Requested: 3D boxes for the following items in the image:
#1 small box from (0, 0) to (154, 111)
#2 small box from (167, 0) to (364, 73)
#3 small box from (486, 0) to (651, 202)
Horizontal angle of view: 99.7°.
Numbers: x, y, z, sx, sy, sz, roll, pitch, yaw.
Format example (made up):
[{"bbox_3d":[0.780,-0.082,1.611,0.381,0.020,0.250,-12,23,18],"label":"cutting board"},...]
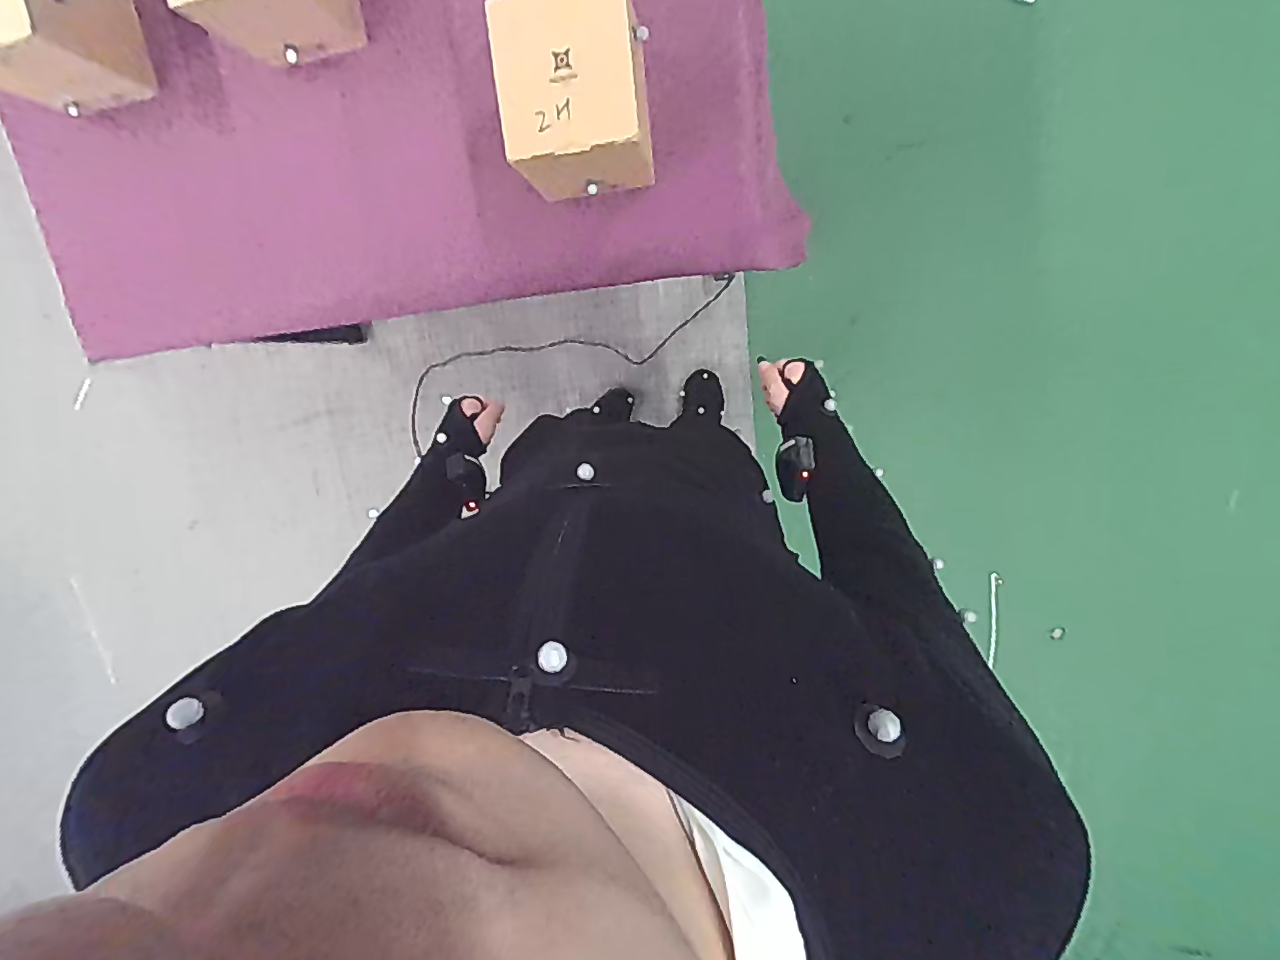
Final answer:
[{"bbox_3d":[-0.857,-0.660,0.770,0.168,0.176,0.179,-7,102,8],"label":"small box"},{"bbox_3d":[-0.504,-0.694,0.720,0.168,0.176,0.179,-5,103,9],"label":"small box"},{"bbox_3d":[-0.081,-0.490,0.707,0.168,0.176,0.179,-4,101,9],"label":"small box"}]
